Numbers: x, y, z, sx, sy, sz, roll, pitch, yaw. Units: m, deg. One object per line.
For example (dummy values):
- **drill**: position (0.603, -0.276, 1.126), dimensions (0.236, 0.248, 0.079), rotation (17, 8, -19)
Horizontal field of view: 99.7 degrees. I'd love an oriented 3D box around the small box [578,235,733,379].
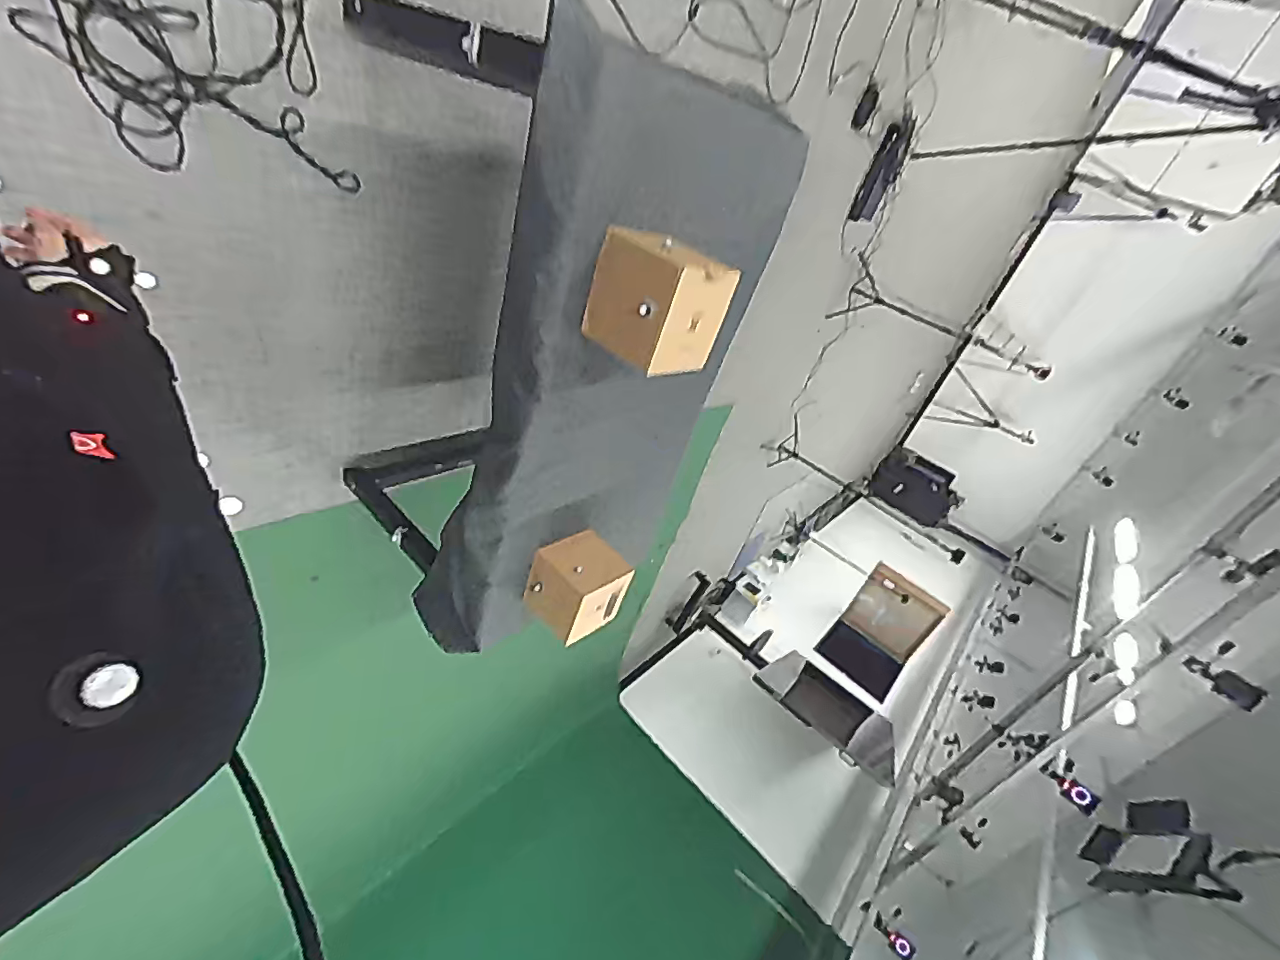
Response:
- **small box**: position (0.020, -0.291, 0.908), dimensions (0.168, 0.176, 0.179), rotation (-19, 140, -48)
